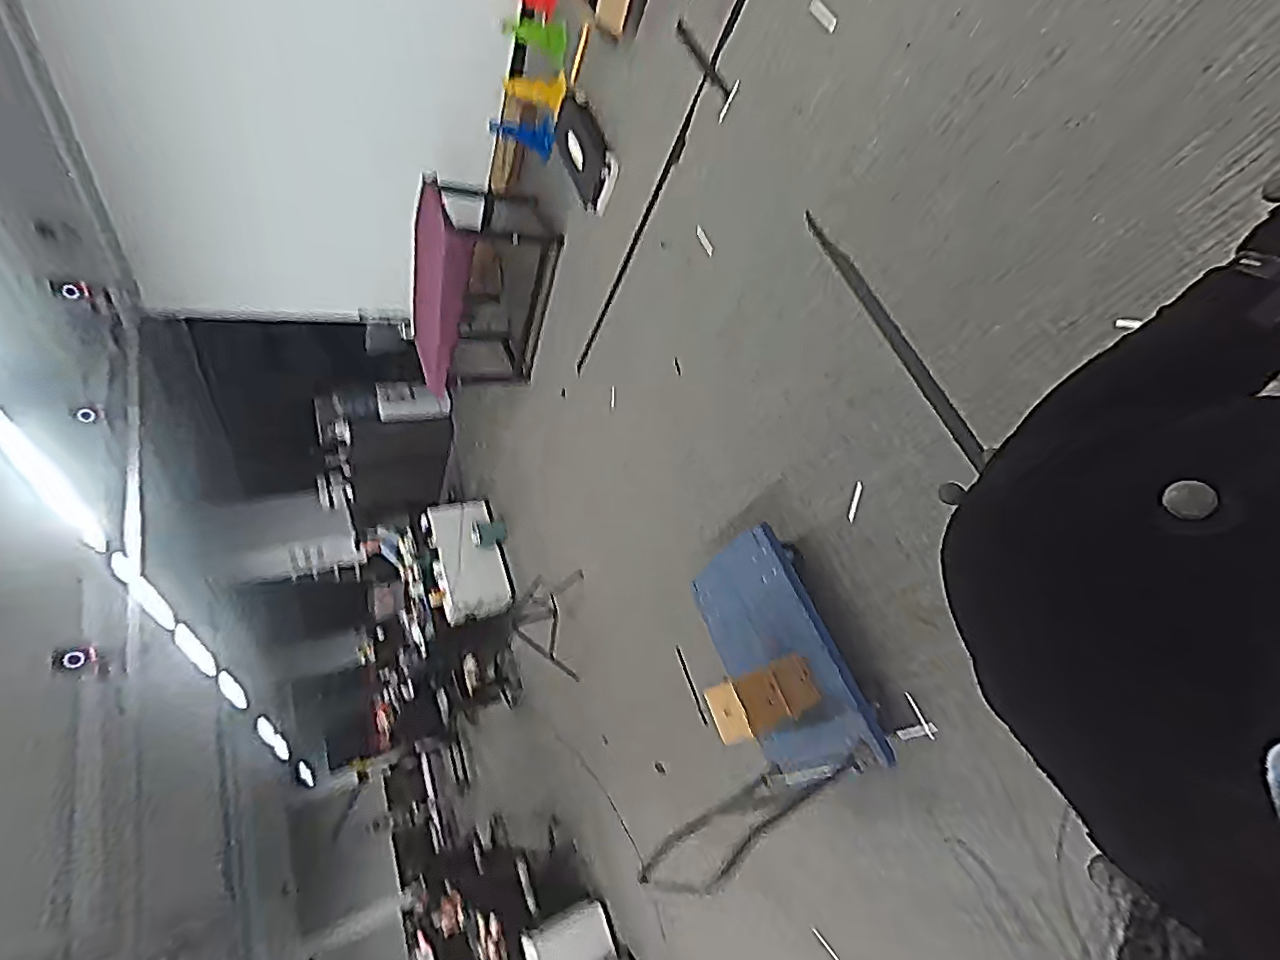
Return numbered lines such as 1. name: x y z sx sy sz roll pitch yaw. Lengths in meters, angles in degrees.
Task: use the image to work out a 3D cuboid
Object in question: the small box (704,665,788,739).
1. small box: 0.345 0.720 1.753 0.179 0.176 0.168 -50 55 49
